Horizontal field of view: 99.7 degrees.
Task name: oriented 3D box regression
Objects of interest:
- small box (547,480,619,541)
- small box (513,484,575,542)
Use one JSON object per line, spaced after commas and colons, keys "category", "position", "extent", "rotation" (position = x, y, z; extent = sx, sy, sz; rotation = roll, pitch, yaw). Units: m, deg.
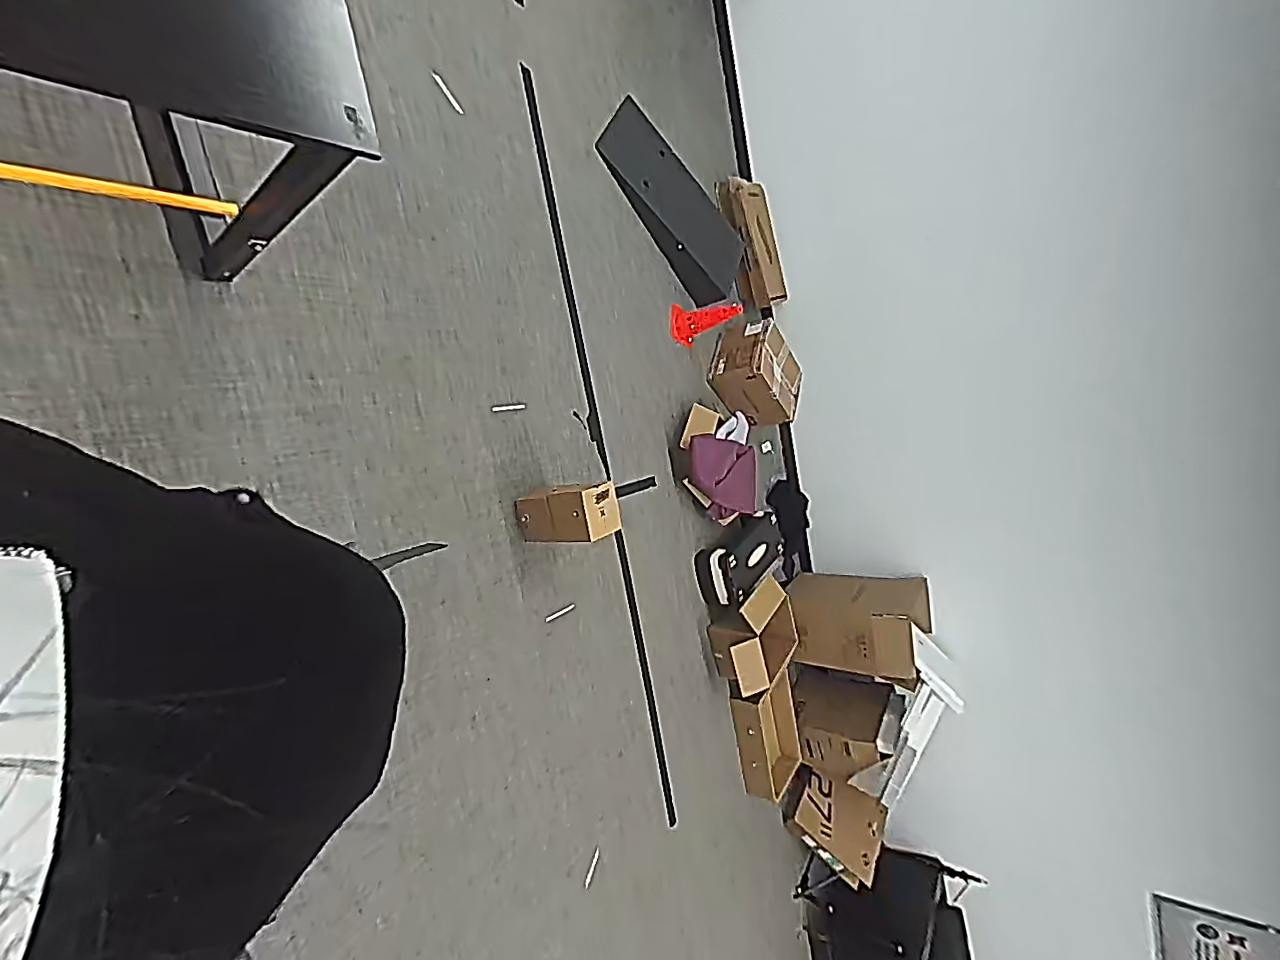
{"category": "small box", "position": [-0.201, 0.107, 1.865], "extent": [0.168, 0.176, 0.179], "rotation": [-19, 101, -51]}
{"category": "small box", "position": [-0.331, 0.119, 1.966], "extent": [0.179, 0.176, 0.168], "rotation": [-26, 105, -49]}
